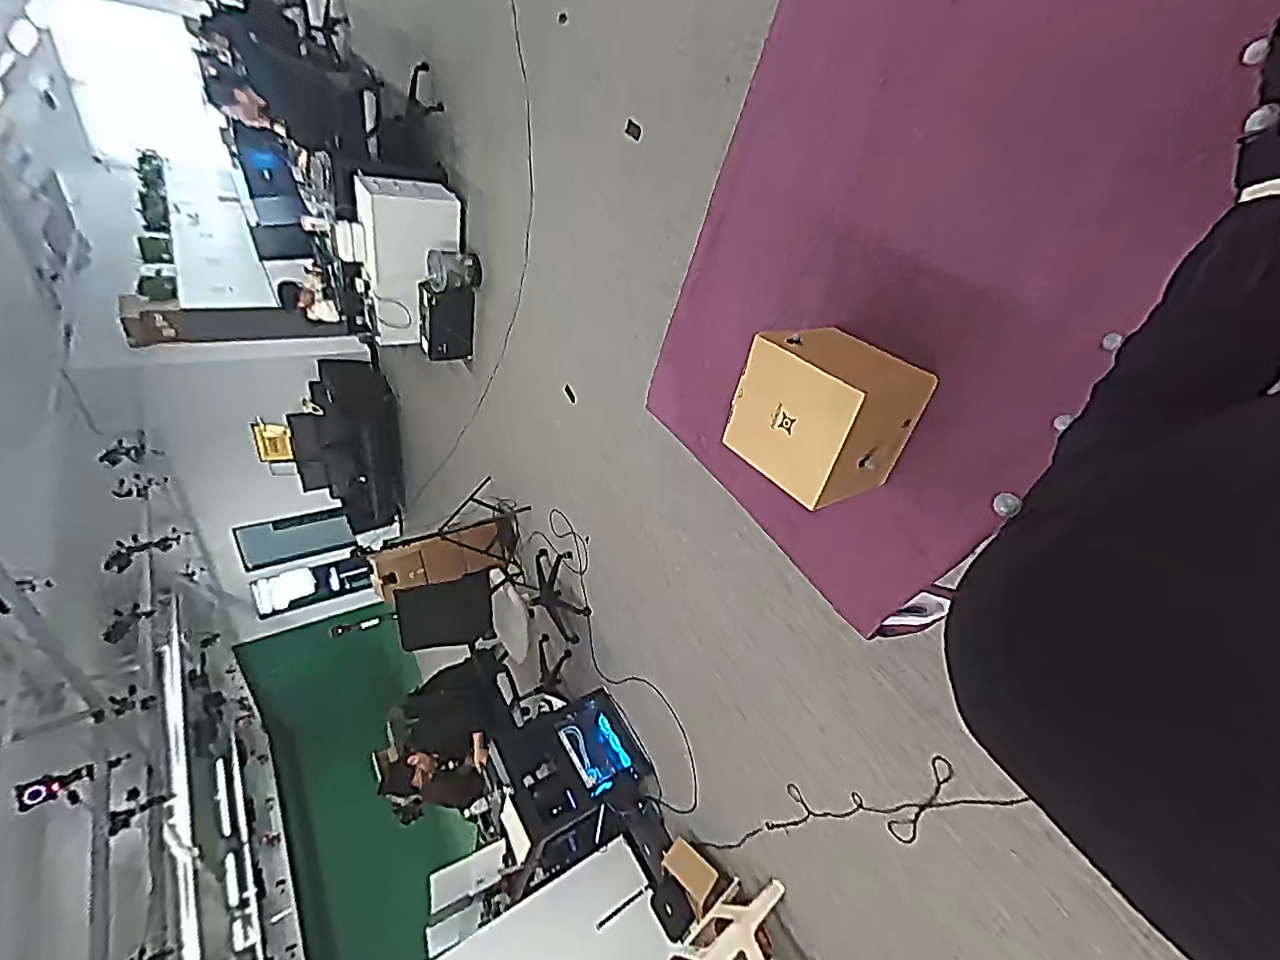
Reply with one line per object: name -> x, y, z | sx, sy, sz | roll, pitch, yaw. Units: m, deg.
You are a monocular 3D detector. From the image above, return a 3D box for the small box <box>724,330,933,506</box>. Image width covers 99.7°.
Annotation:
small box -> 0.247, -0.095, 0.723 | 0.179, 0.176, 0.168 | 45, 136, 39
